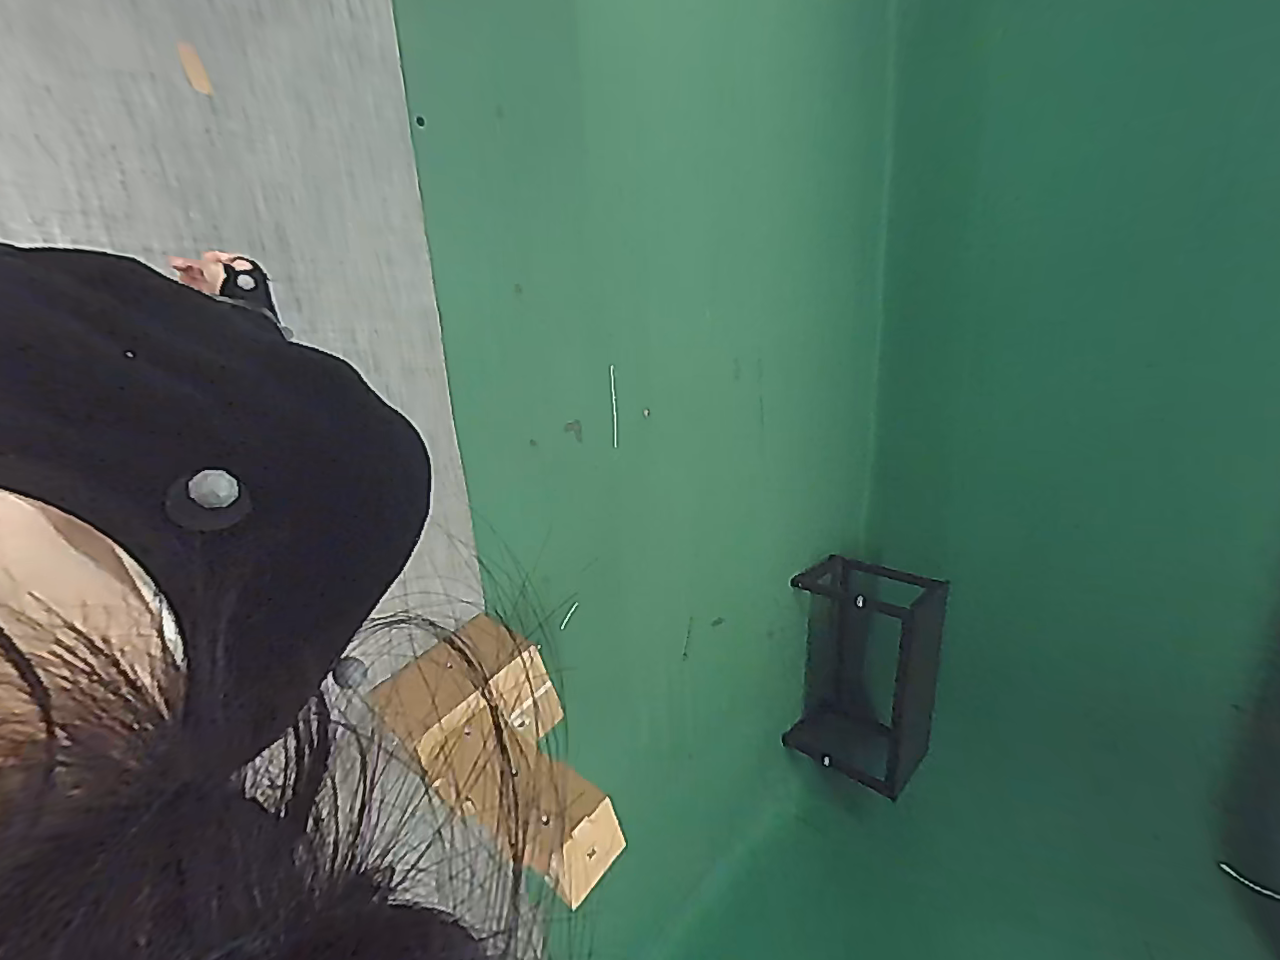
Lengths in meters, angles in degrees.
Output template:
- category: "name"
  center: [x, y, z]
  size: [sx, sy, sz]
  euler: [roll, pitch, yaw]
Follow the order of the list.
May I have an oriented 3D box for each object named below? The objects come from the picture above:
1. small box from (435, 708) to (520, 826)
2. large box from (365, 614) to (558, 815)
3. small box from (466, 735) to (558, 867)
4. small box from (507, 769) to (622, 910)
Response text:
- category: "small box"
  center: [-0.413, 0.741, 1.415]
  size: [0.179, 0.176, 0.168]
  euler: [-30, 119, -39]
- category: "large box"
  center: [-0.530, 0.683, 1.639]
  size: [0.408, 0.320, 0.320]
  euler: [-36, 123, -38]
- category: "small box"
  center: [-0.295, 0.764, 1.302]
  size: [0.179, 0.176, 0.168]
  euler: [-35, 122, -38]
- category: "small box"
  center: [-0.169, 0.781, 1.200]
  size: [0.168, 0.176, 0.179]
  euler: [-33, 121, -38]
